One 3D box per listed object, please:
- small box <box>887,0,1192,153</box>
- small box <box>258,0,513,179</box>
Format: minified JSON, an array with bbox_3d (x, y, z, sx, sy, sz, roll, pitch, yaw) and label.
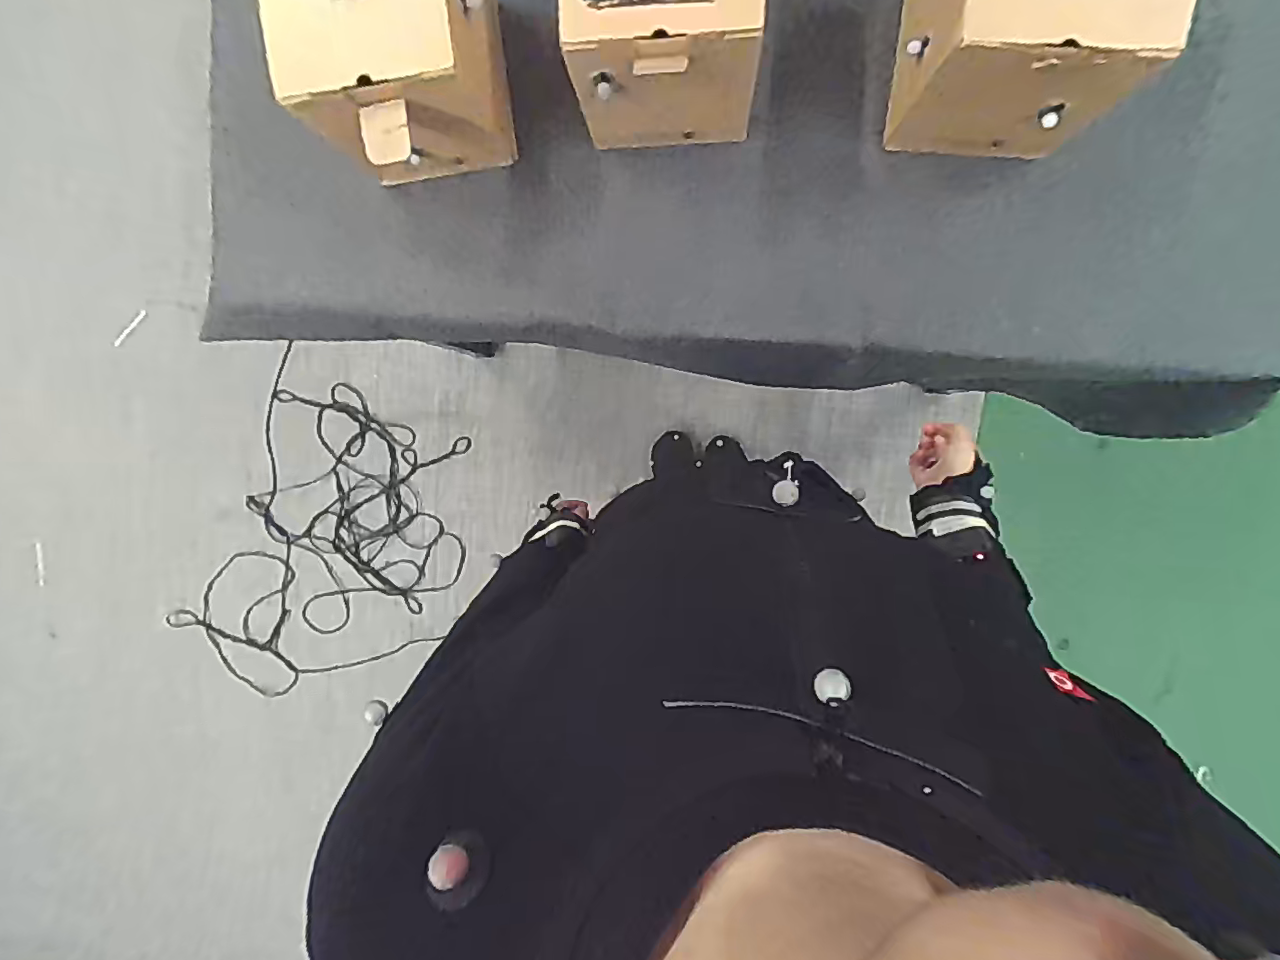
[{"bbox_3d":[0.339,-0.421,0.480,0.168,0.176,0.179,6,96,3],"label":"small box"},{"bbox_3d":[-0.236,-0.430,0.527,0.168,0.176,0.179,-6,96,5],"label":"small box"}]
